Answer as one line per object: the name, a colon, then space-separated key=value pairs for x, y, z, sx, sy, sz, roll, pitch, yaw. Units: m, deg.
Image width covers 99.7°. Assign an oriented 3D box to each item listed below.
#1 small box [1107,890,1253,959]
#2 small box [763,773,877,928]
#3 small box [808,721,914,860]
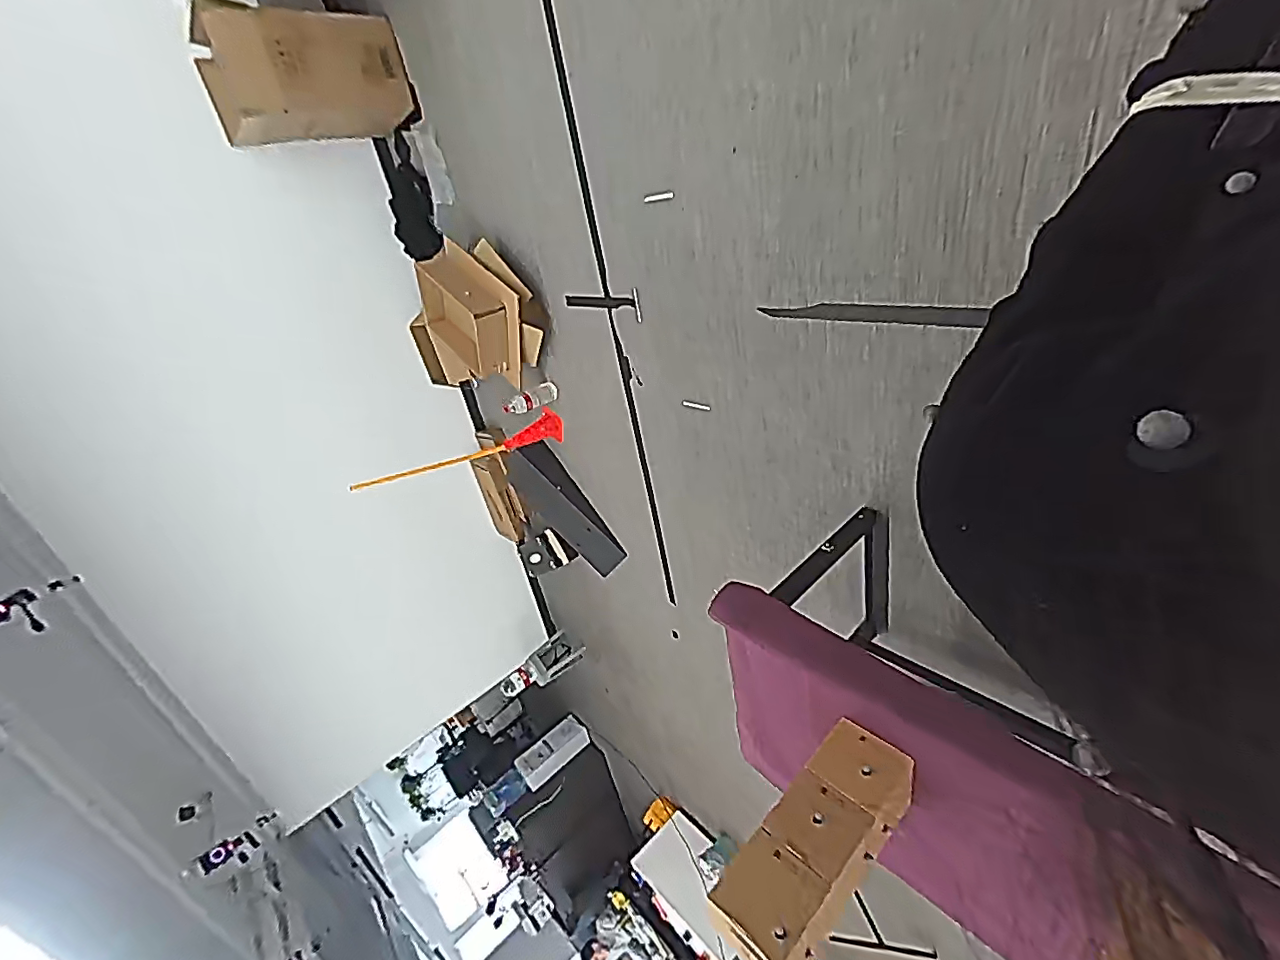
small box: x=0.829 y=0.794 z=0.831 sx=0.168 sy=0.176 sz=0.179 roll=17 pitch=130 yaw=48
small box: x=0.377 y=0.763 z=1.131 sx=0.168 sy=0.176 sz=0.179 roll=21 pitch=132 yaw=45
small box: x=0.496 y=0.686 z=1.214 sx=0.168 sy=0.176 sz=0.179 roll=20 pitch=132 yaw=45
